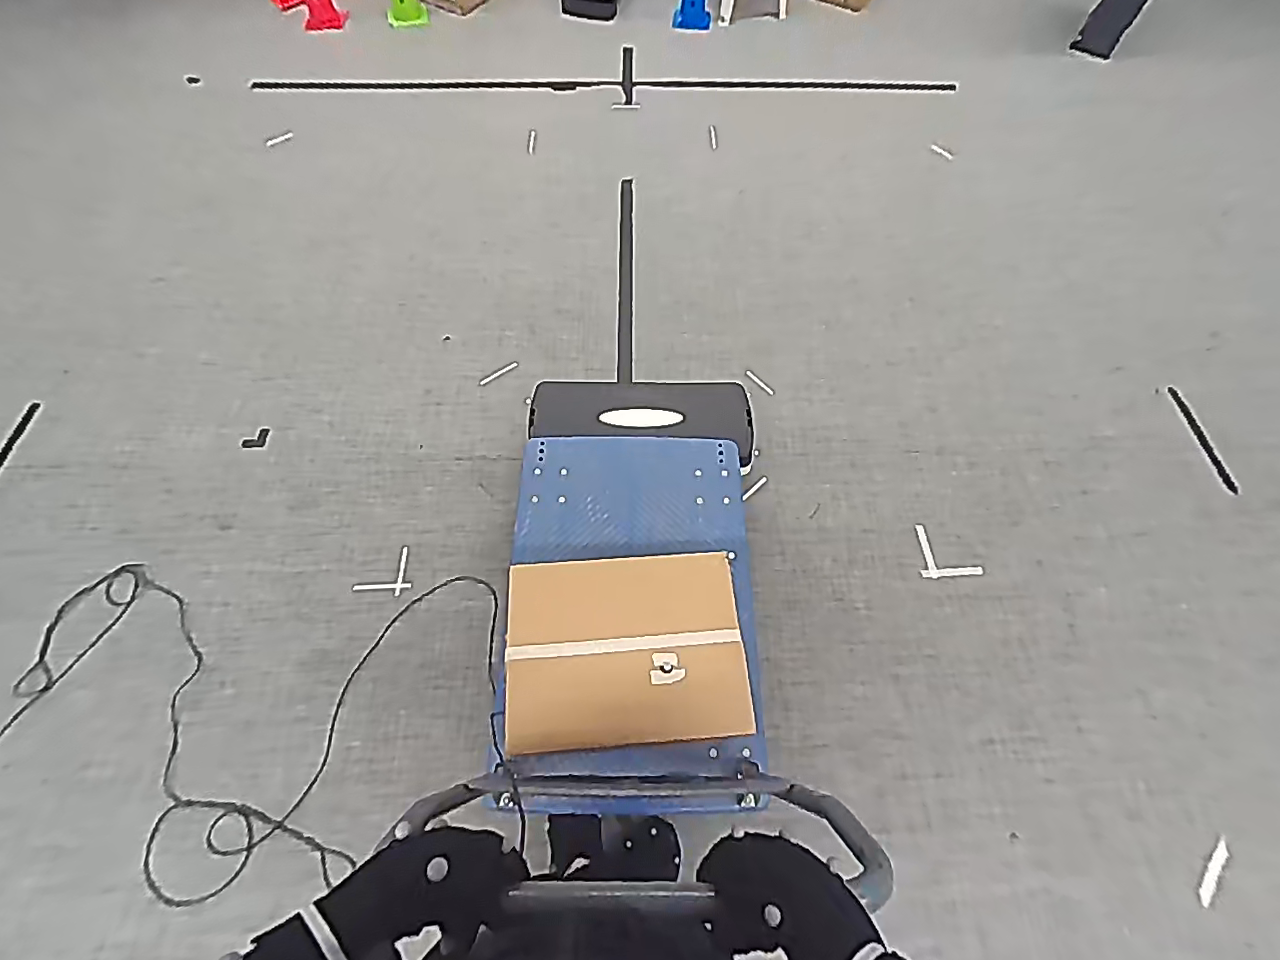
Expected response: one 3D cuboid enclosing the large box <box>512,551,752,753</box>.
[{"bbox_3d":[-0.030,0.354,1.083,0.408,0.320,0.320,-3,63,-4],"label":"large box"}]
